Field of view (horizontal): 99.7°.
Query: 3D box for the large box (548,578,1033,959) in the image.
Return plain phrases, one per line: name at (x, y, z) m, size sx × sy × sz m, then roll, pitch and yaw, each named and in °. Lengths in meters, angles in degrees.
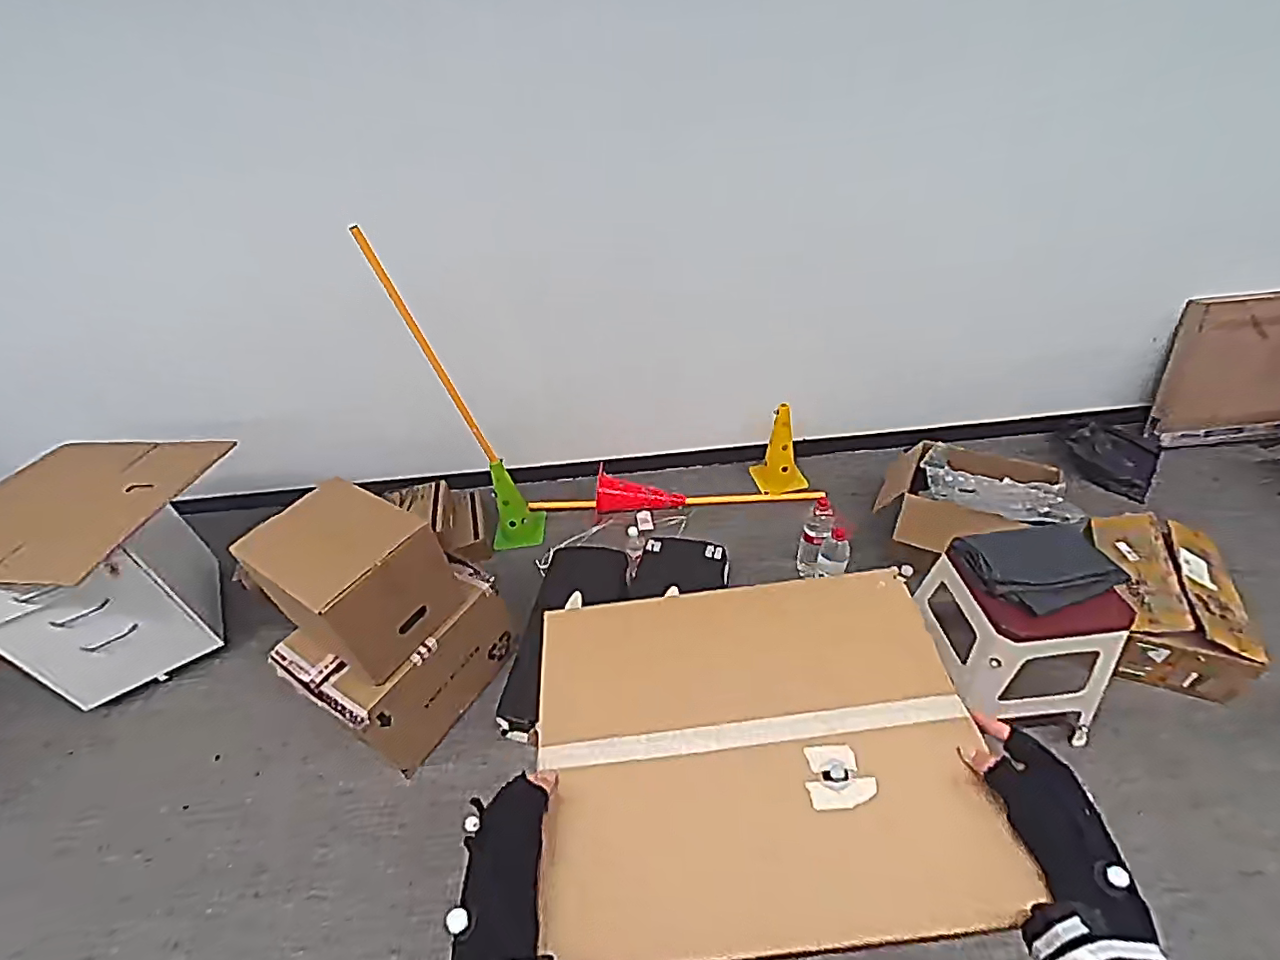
large box at (0.119, 0.352, 0.641) m, size 0.408 × 0.320 × 0.320 m, roll -7°, pitch 48°, yaw 1°
